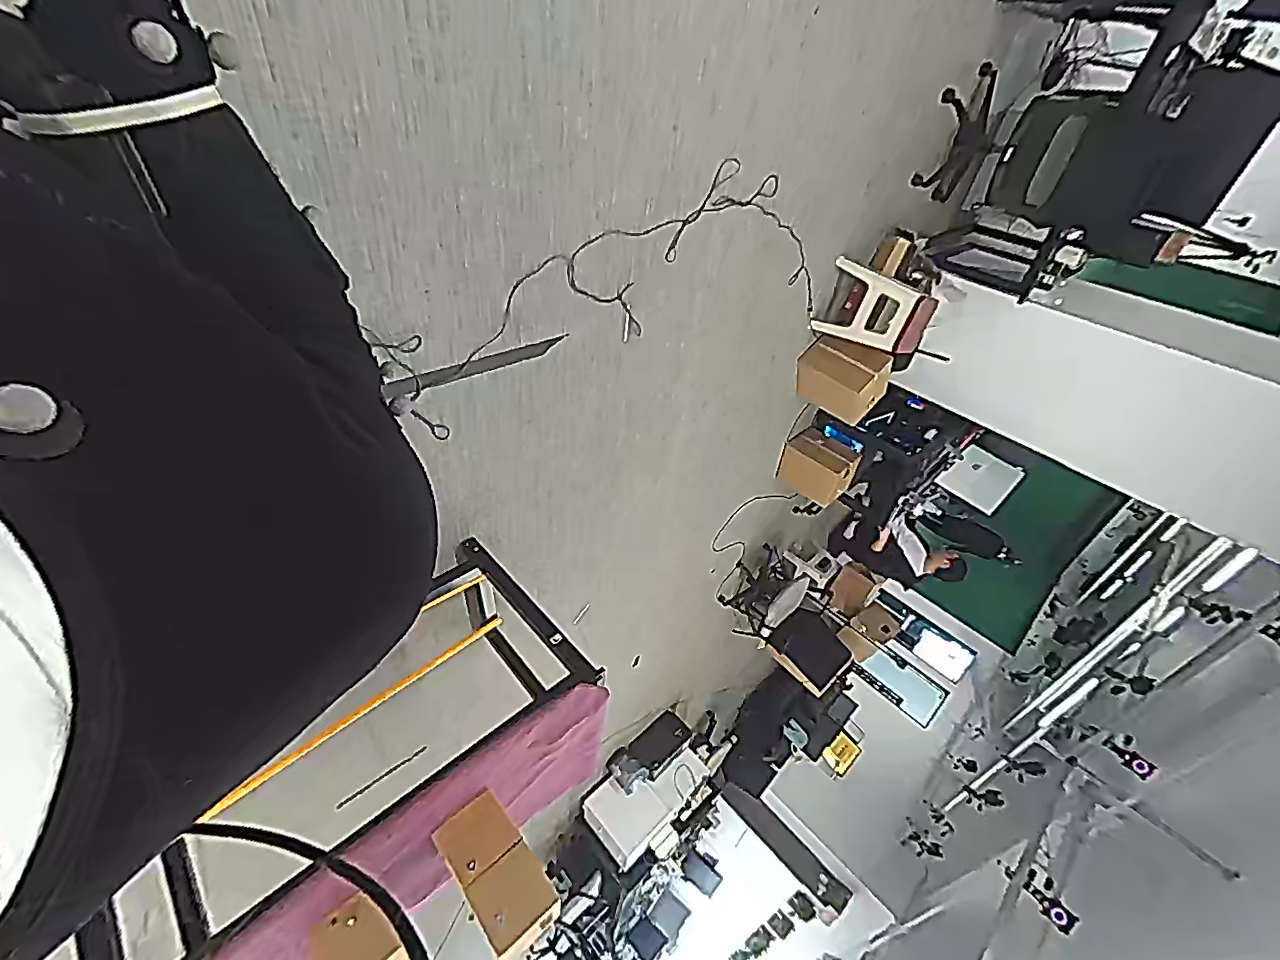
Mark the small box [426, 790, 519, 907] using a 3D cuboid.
[{"bbox_3d":[-0.445,0.979,1.450,0.179,0.176,0.168,-28,141,-35],"label":"small box"}]

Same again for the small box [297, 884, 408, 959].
[{"bbox_3d":[-0.670,1.103,1.269,0.168,0.176,0.179,-27,140,-37],"label":"small box"}]
